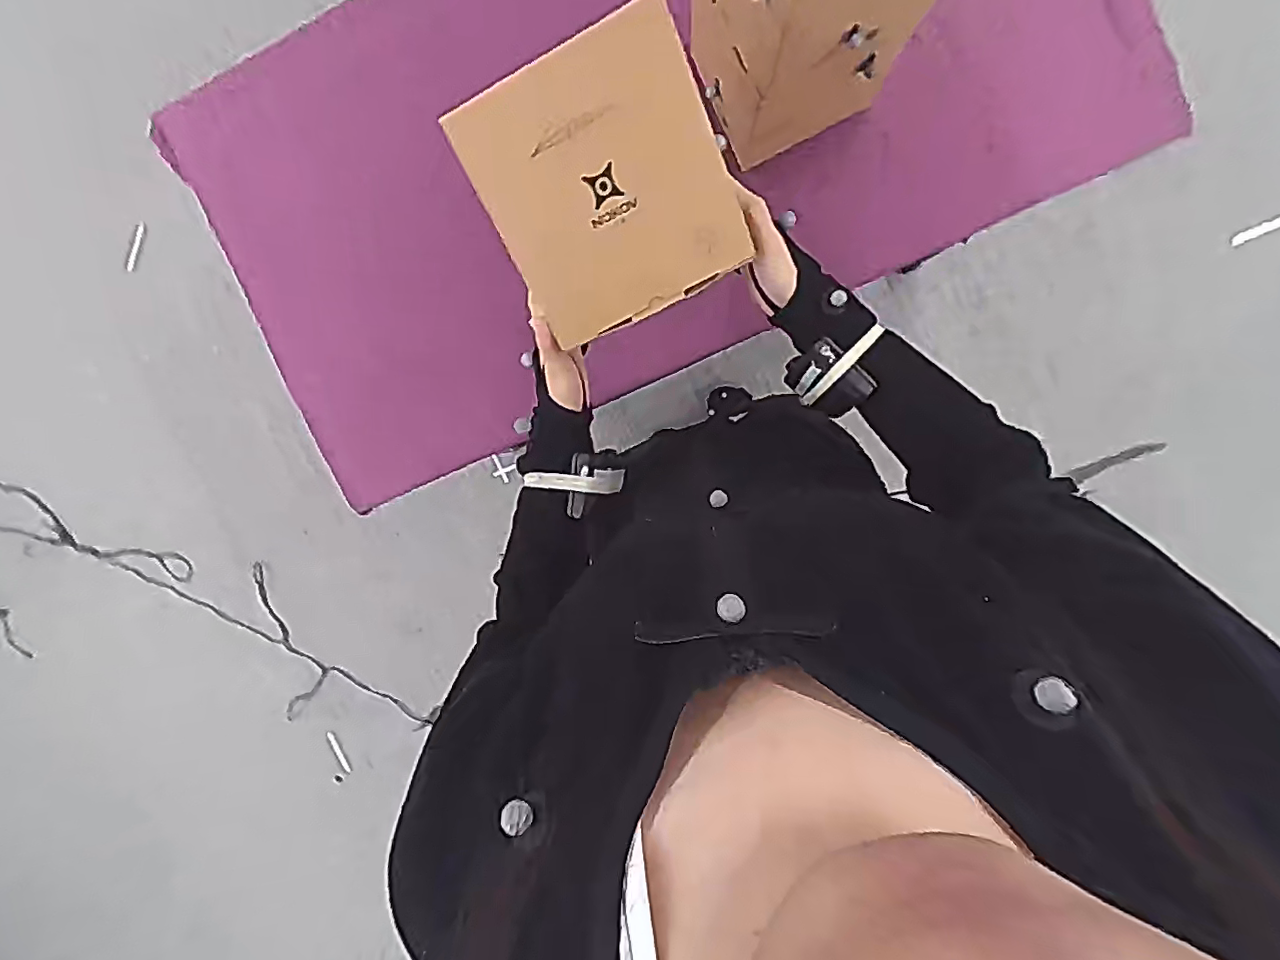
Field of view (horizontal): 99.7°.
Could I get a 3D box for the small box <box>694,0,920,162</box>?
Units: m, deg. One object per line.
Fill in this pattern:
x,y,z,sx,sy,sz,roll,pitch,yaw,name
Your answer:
0.168,-0.505,0.606,0.179,0.176,0.168,-25,94,8,small box

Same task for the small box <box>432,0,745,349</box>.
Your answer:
-0.031,-0.237,0.451,0.168,0.176,0.179,-25,112,9,small box
